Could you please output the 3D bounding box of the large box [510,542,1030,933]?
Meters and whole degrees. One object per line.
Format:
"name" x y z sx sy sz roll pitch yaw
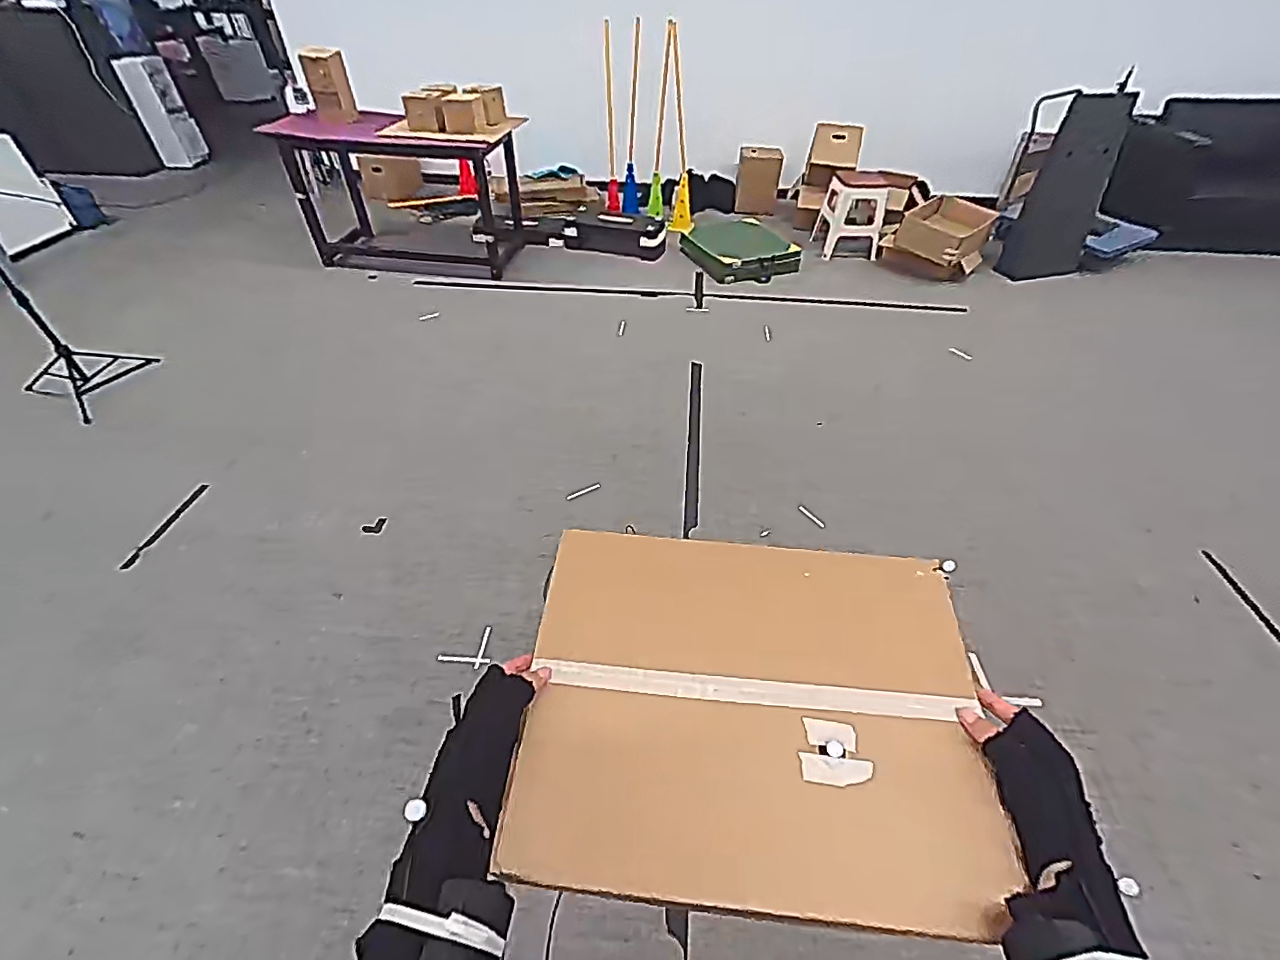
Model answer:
"large box" 0.104 0.294 0.616 0.408 0.320 0.320 5 52 3
